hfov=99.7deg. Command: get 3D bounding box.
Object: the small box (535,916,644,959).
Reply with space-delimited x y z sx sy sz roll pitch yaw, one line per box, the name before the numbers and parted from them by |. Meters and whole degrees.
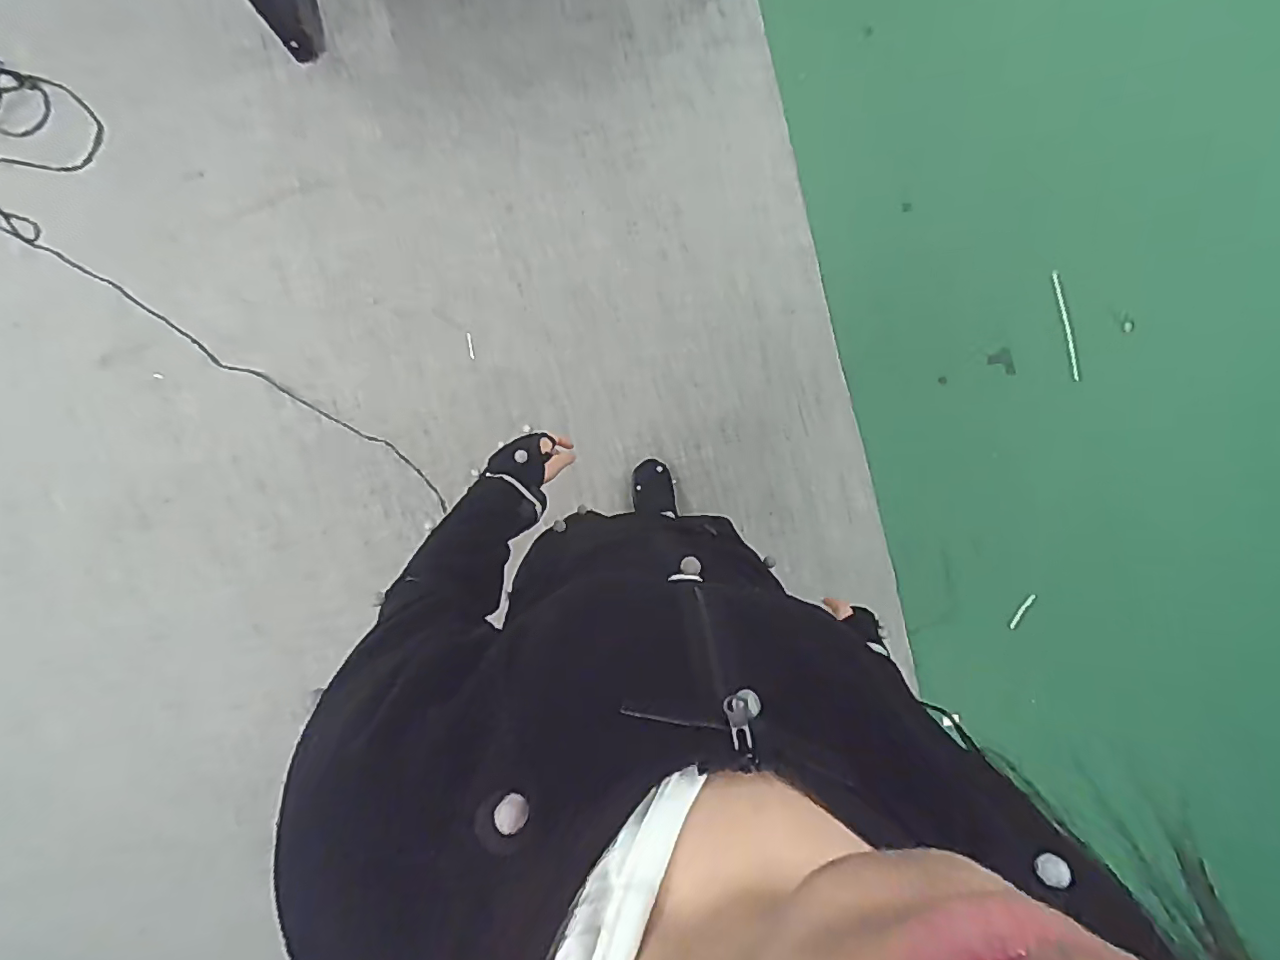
small box | -0.067 0.814 0.806 0.168 0.176 0.179 -14 91 -2
